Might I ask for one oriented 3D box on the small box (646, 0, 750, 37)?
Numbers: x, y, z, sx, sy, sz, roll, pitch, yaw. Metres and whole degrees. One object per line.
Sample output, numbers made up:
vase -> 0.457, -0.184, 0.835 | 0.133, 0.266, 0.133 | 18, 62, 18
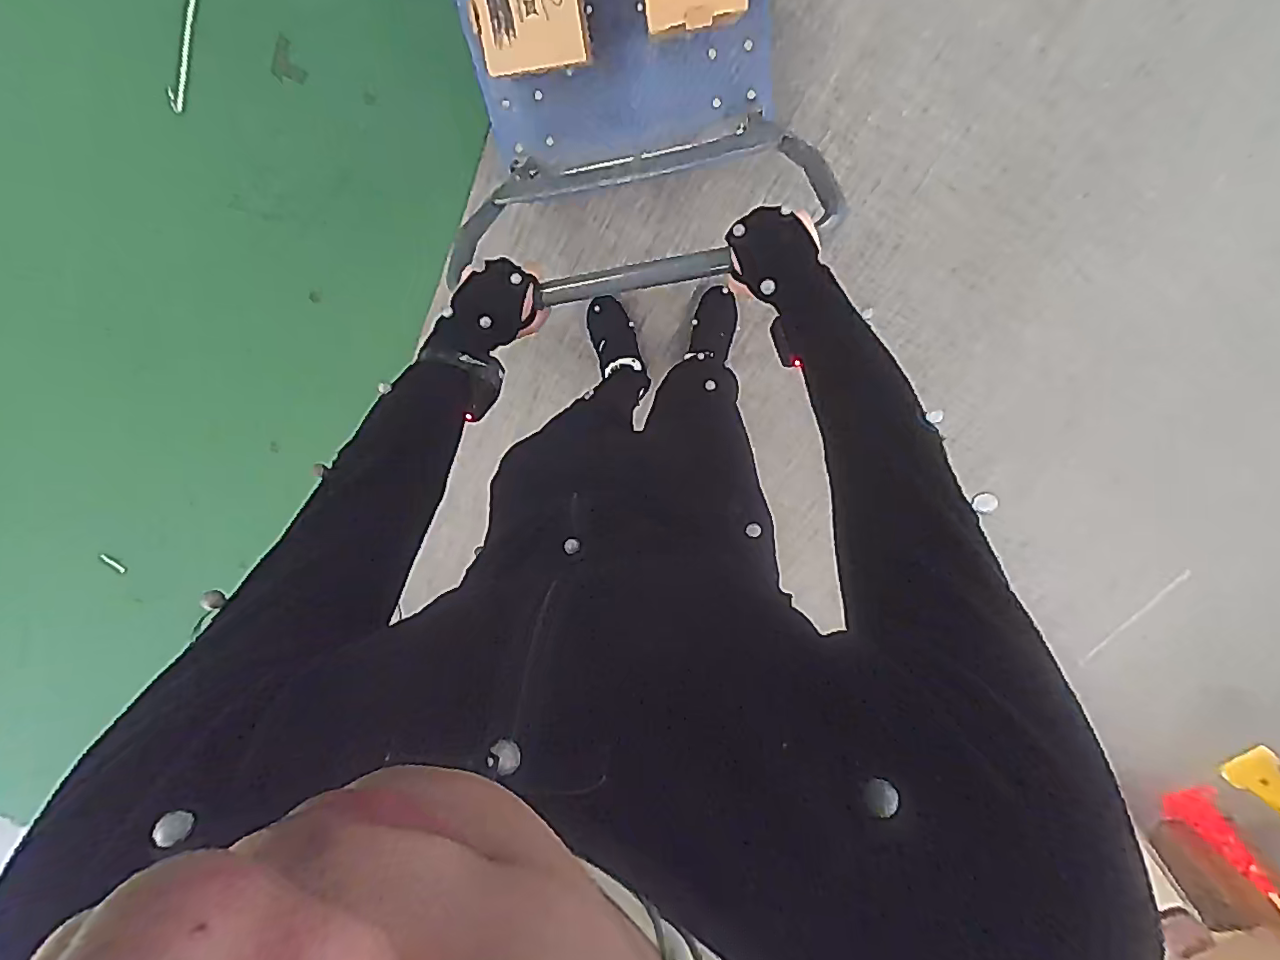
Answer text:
small box -> 0.086, -0.872, 0.902 | 0.168, 0.176, 0.179 | -8, 127, 7
